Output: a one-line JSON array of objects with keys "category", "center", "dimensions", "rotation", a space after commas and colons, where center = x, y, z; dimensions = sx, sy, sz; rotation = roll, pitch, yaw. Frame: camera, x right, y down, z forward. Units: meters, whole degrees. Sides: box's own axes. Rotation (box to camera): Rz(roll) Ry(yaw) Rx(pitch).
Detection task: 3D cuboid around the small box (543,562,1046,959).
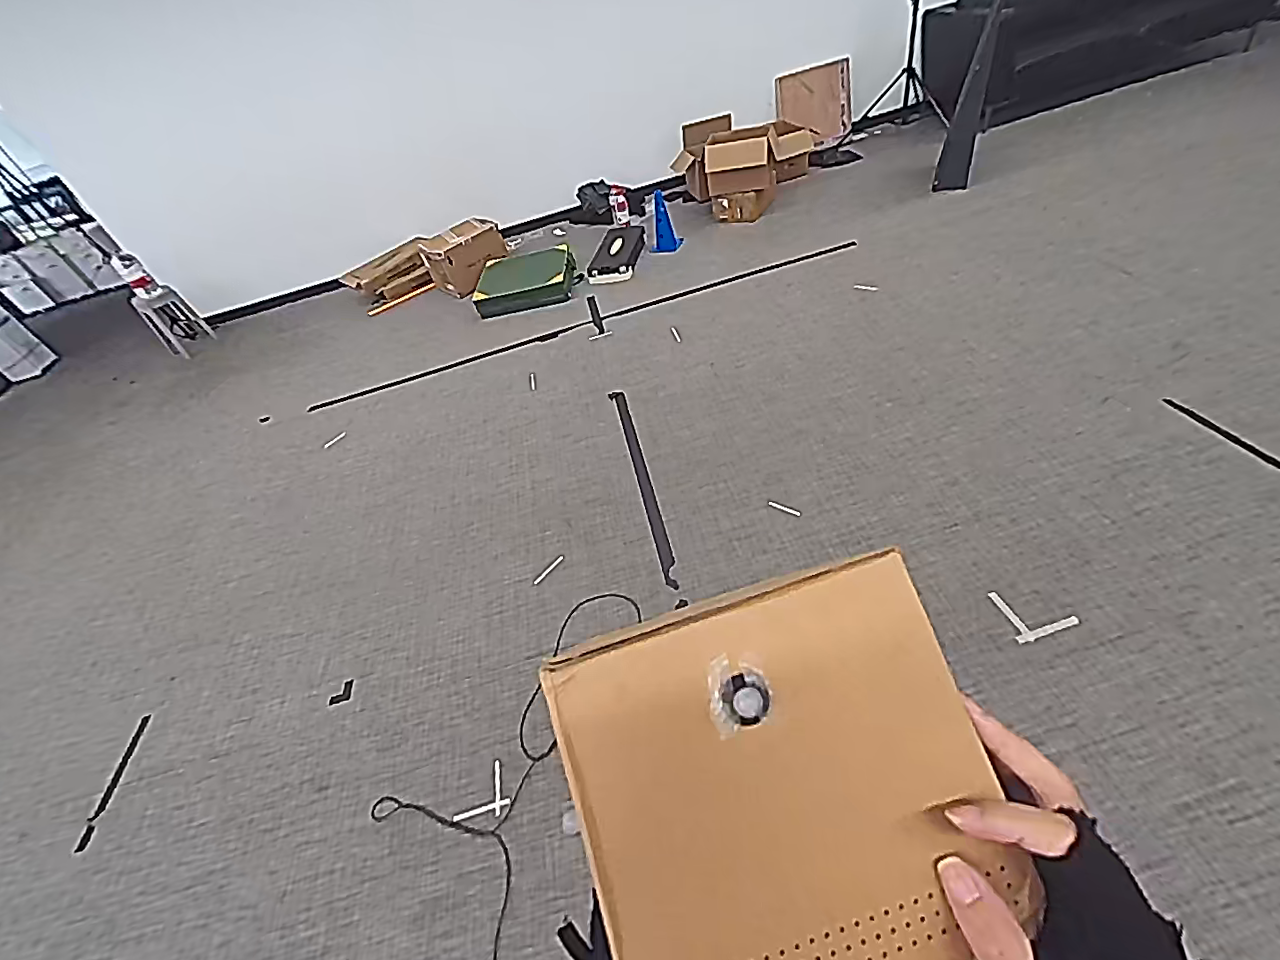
[{"category": "small box", "center": [0.065, 0.159, 0.303], "dimensions": [0.179, 0.168, 0.176], "rotation": [-17, 77, -4]}]
